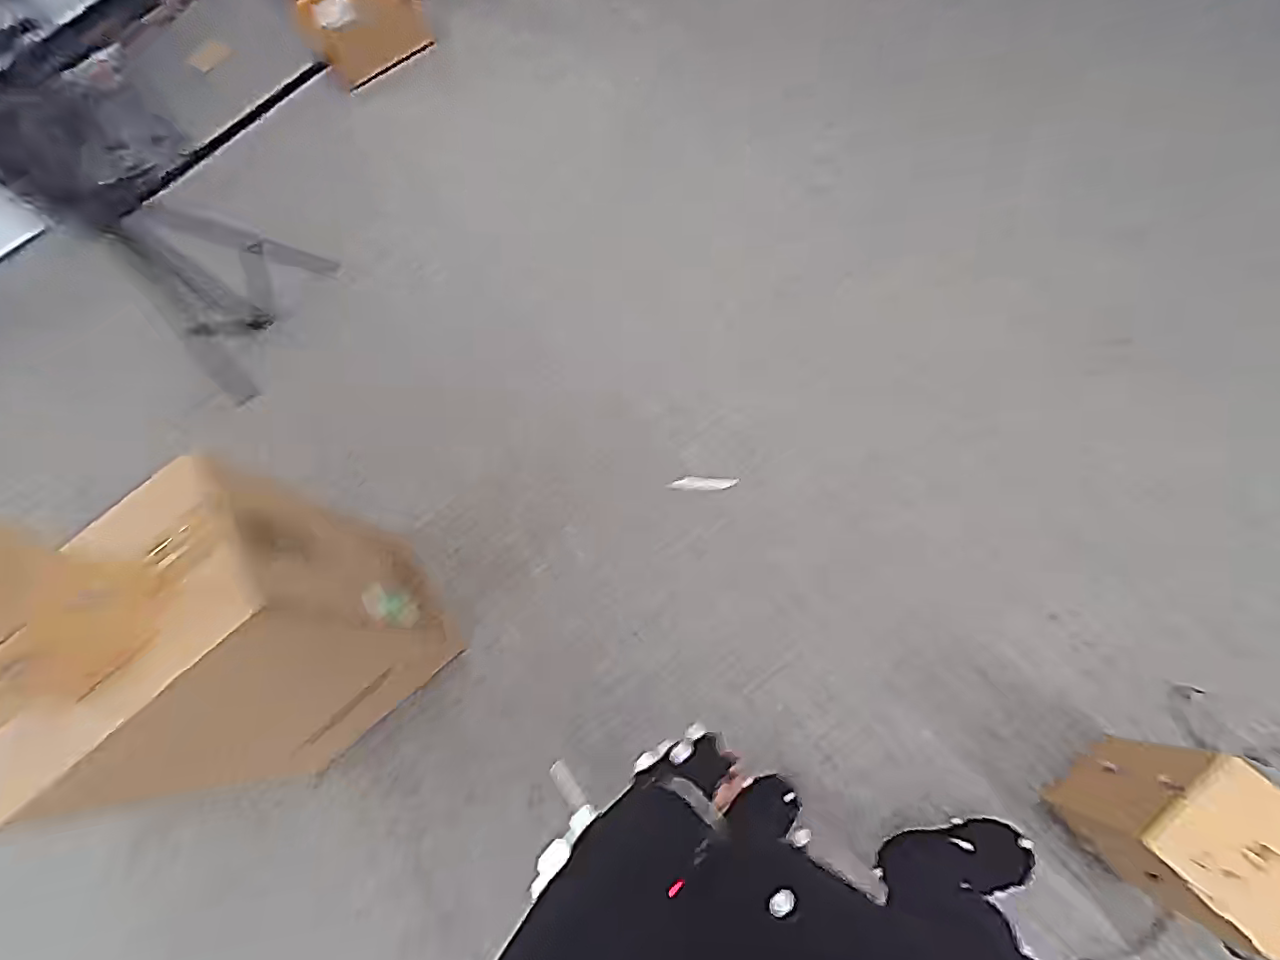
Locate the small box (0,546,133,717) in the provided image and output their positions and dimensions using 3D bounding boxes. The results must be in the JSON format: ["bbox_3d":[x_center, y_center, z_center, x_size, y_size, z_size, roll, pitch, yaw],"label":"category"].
[{"bbox_3d":[-0.916,0.231,0.810,0.179,0.176,0.168,-41,65,-4],"label":"small box"}]

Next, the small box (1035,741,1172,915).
[{"bbox_3d":[0.825,0.567,0.914,0.179,0.176,0.168,-40,64,-3],"label":"small box"}]

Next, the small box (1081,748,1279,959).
[{"bbox_3d":[0.786,0.507,0.765,0.179,0.176,0.168,-42,64,-4],"label":"small box"}]
